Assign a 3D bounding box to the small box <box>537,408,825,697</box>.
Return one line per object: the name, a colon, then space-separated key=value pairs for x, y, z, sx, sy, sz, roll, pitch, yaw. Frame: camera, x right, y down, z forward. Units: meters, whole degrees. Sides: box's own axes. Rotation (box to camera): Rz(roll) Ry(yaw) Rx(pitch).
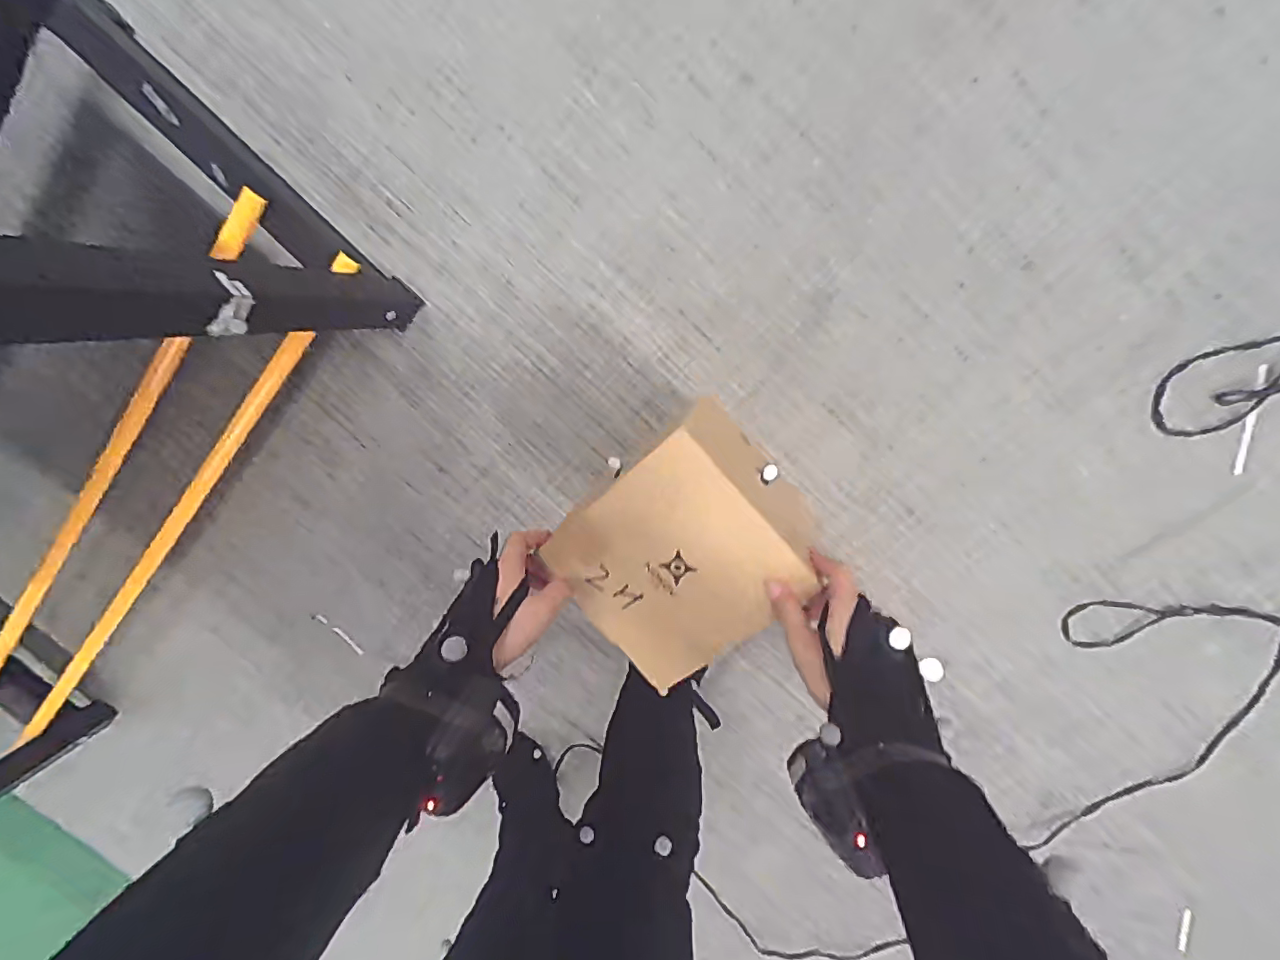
small box: x=0.042 y=0.054 z=0.504 sx=0.179 sy=0.176 sz=0.168 roll=-41 pitch=94 yaw=21
